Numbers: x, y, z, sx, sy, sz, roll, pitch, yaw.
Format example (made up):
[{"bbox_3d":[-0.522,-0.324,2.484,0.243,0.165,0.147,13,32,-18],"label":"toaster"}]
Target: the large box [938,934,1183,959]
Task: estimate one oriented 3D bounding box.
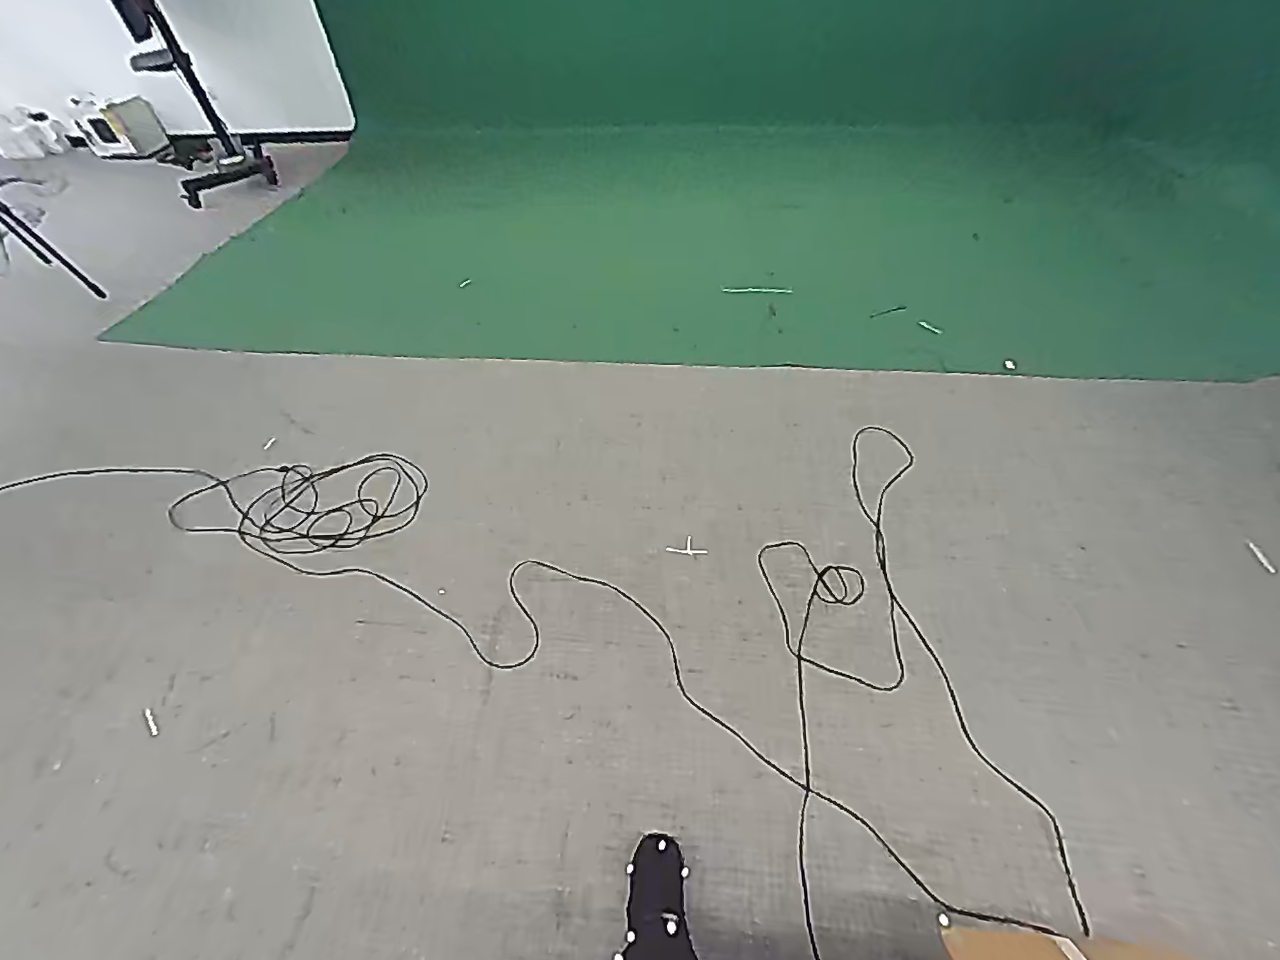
[{"bbox_3d":[0.555,0.780,0.551,0.320,0.408,0.320,-2,83,11],"label":"large box"}]
